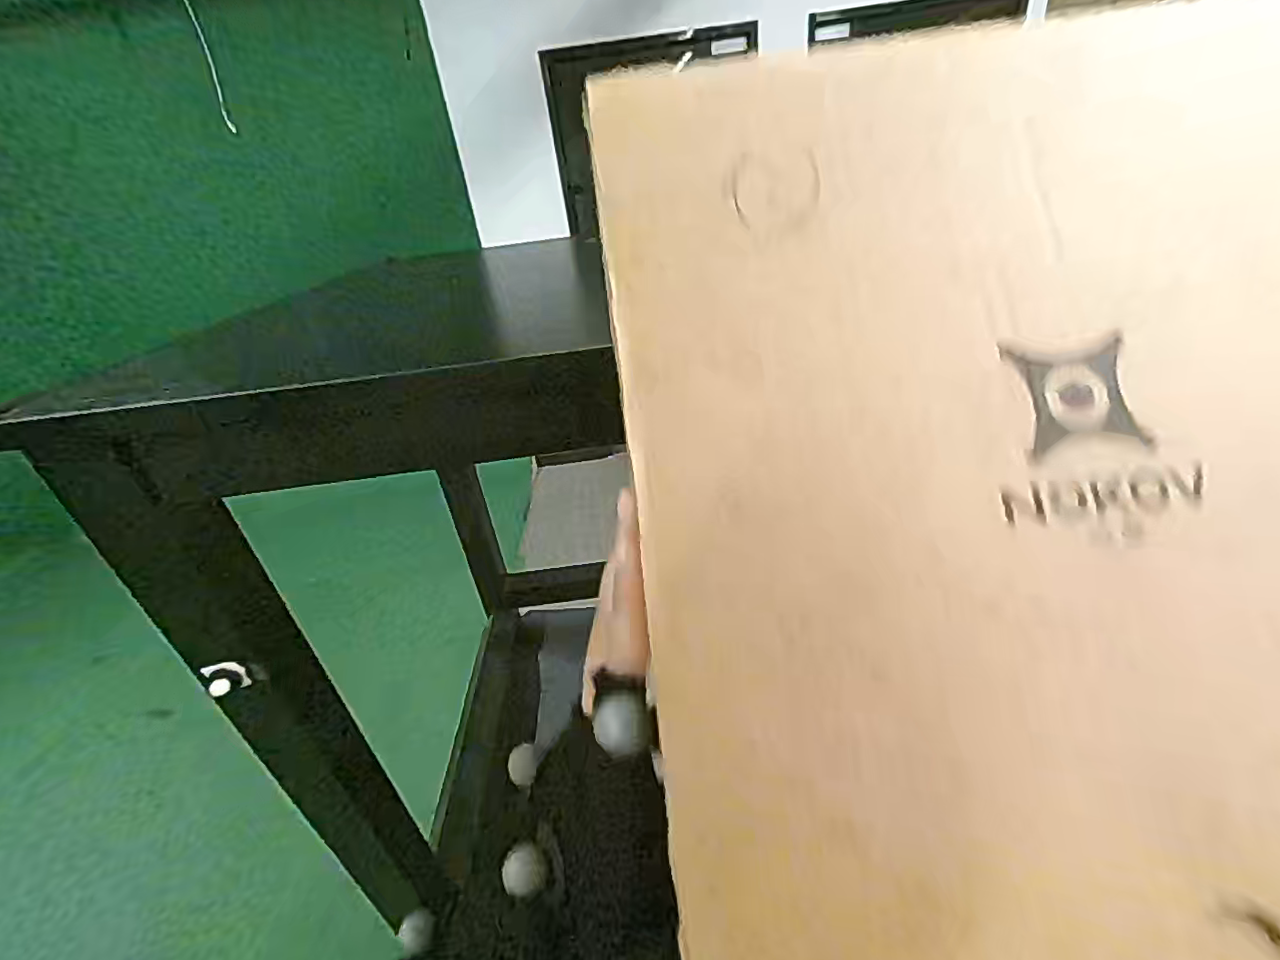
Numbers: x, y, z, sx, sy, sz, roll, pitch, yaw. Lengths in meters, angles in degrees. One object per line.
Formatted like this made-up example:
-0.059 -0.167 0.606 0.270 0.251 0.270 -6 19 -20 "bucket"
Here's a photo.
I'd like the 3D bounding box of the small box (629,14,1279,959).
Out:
0.086 0.006 0.177 0.168 0.179 0.176 -7 -11 0 "small box"
